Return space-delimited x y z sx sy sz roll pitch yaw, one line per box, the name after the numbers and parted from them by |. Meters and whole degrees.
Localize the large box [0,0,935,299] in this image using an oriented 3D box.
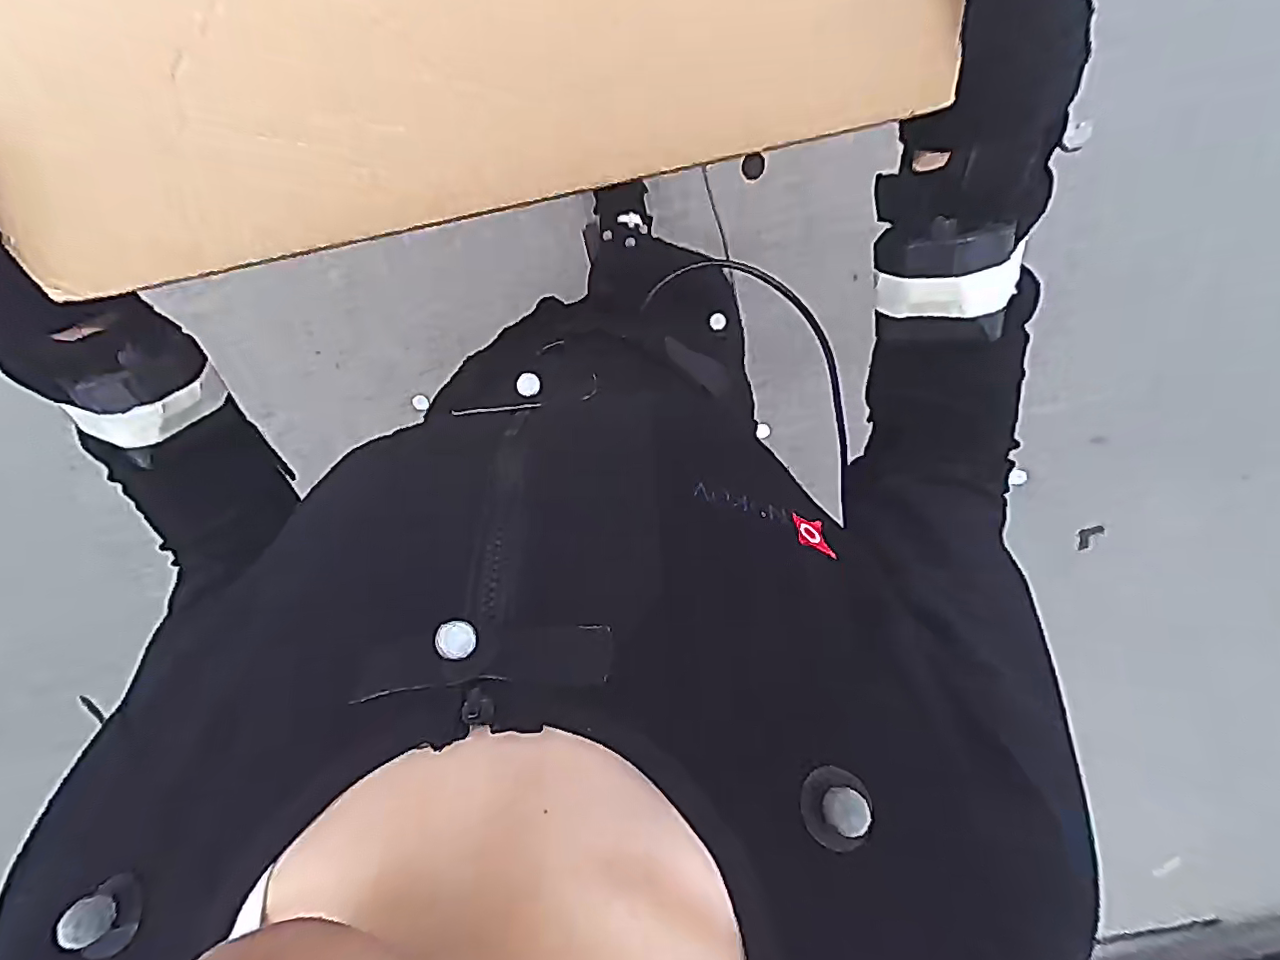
-0.107 -0.332 0.282 0.408 0.320 0.320 -11 123 4 | large box
